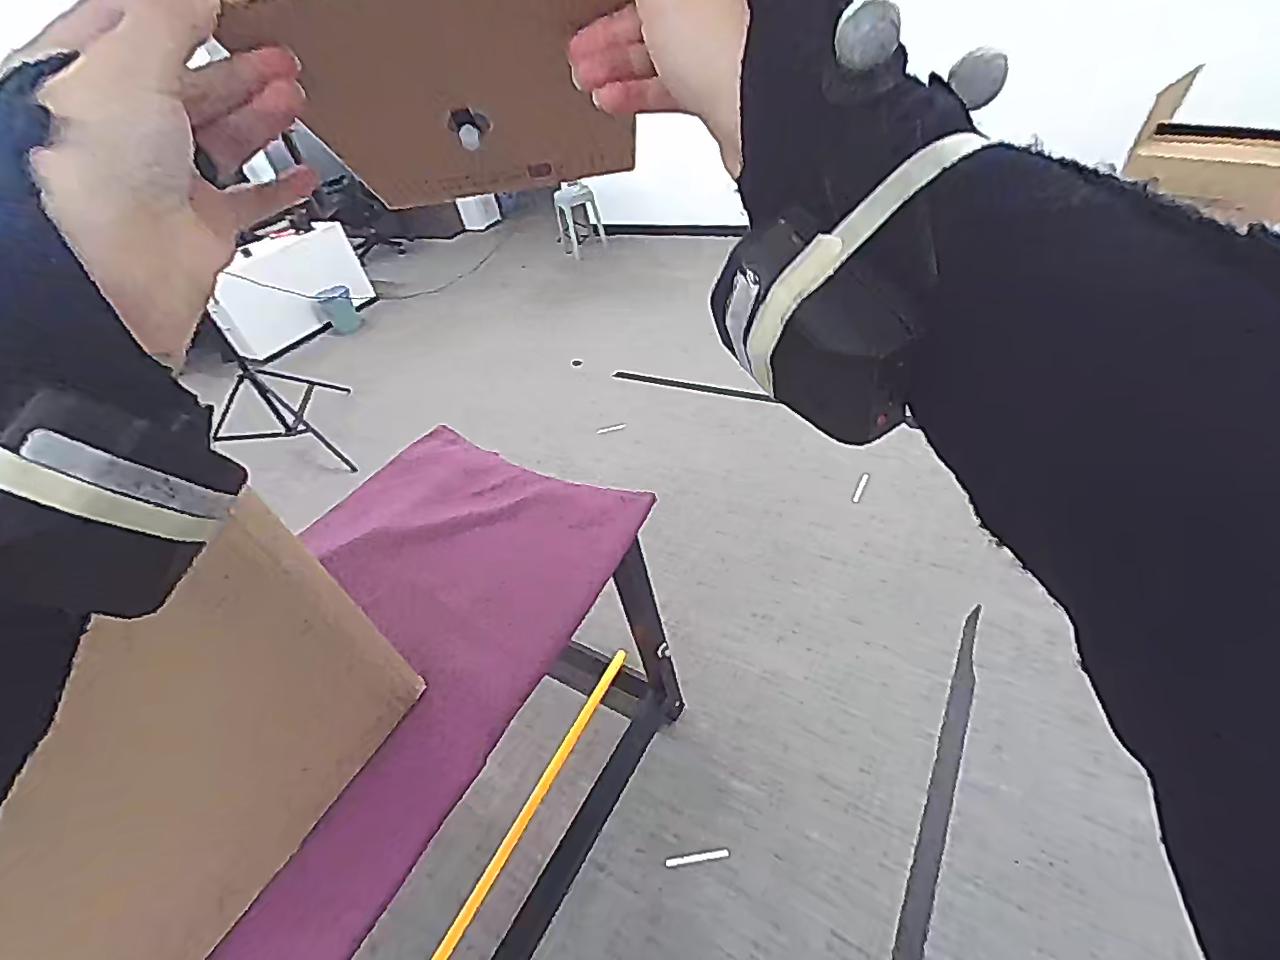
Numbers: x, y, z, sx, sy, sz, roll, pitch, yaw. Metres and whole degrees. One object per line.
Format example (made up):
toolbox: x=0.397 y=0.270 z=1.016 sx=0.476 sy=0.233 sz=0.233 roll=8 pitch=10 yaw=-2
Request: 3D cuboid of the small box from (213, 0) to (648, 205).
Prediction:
small box: x=-0.086 y=-0.261 z=0.272 sx=0.168 sy=0.179 sz=0.176 roll=-8 pitch=4 yaw=-1
